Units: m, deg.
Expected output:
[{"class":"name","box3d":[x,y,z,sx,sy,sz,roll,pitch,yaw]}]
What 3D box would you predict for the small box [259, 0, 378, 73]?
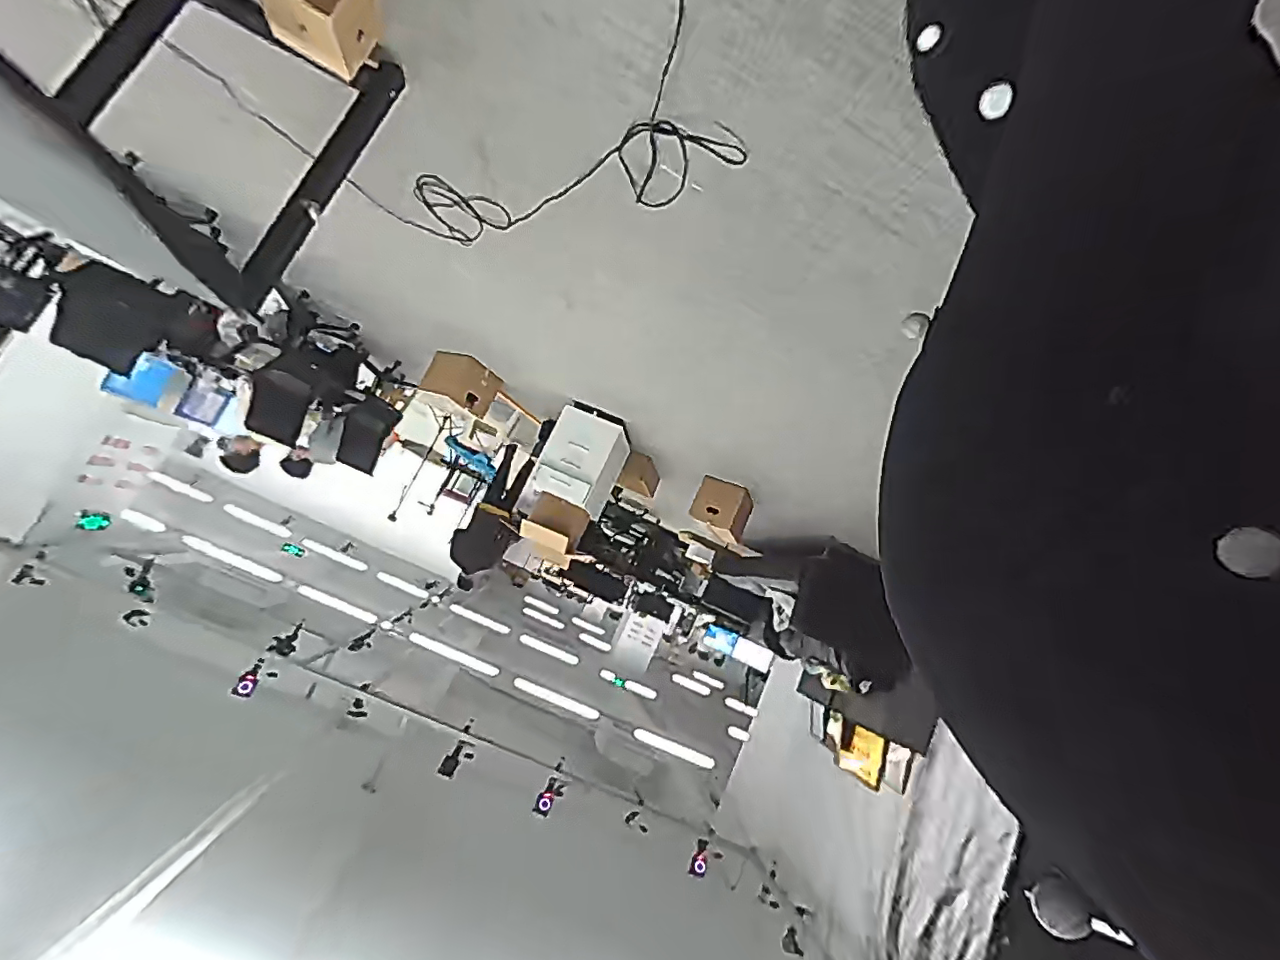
[{"class":"small box","box3d":[-0.678,-1.031,1.137,0.179,0.176,0.168,28,169,-12]}]
